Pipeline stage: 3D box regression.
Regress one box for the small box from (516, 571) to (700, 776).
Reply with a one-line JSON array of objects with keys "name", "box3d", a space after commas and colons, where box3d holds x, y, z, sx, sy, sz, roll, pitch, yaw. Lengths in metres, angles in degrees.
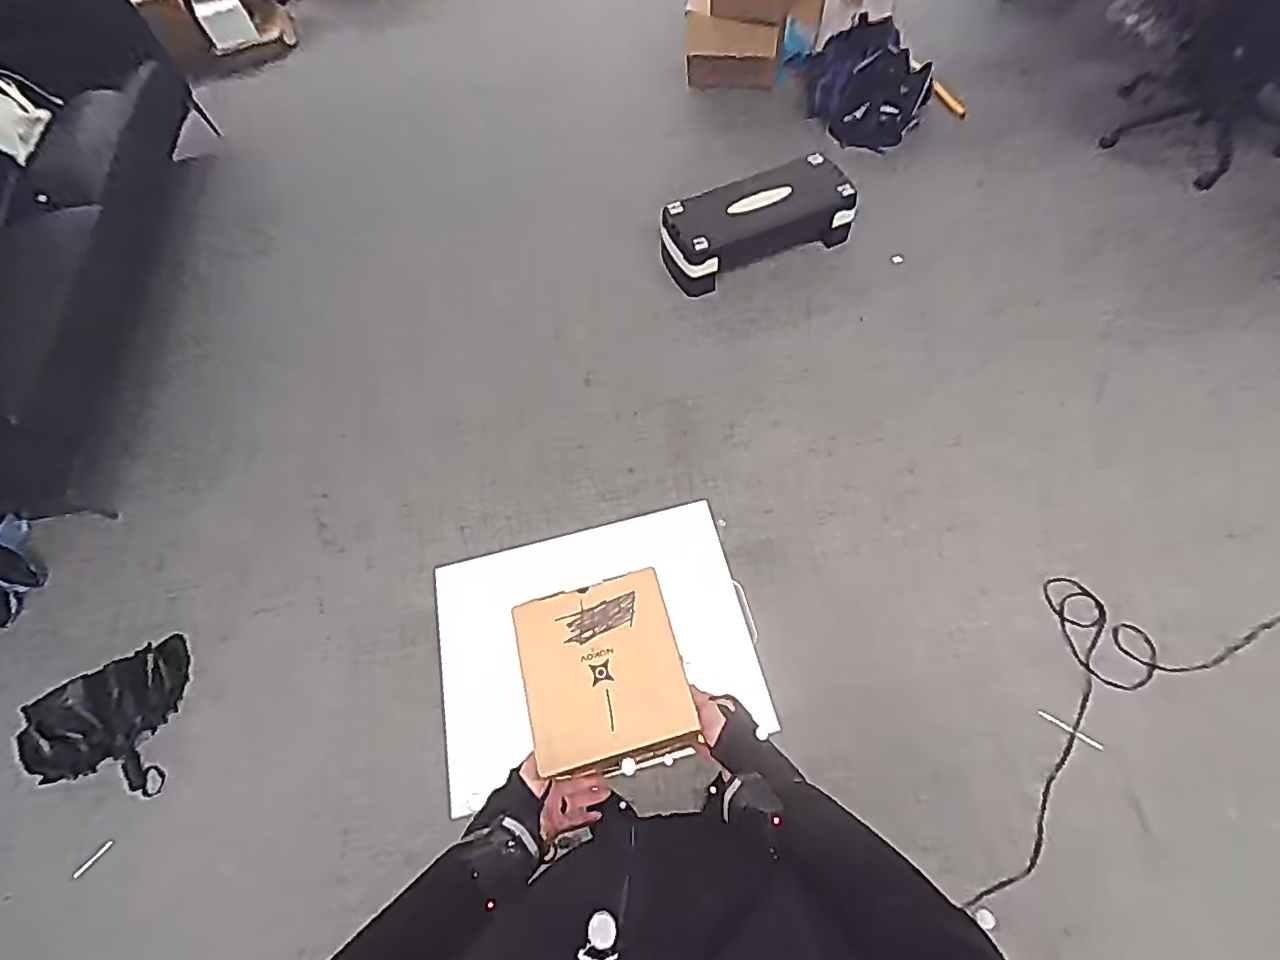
[{"name": "small box", "box3d": [-0.035, 0.233, 0.638, 0.168, 0.176, 0.179, -15, 63, -3]}]
